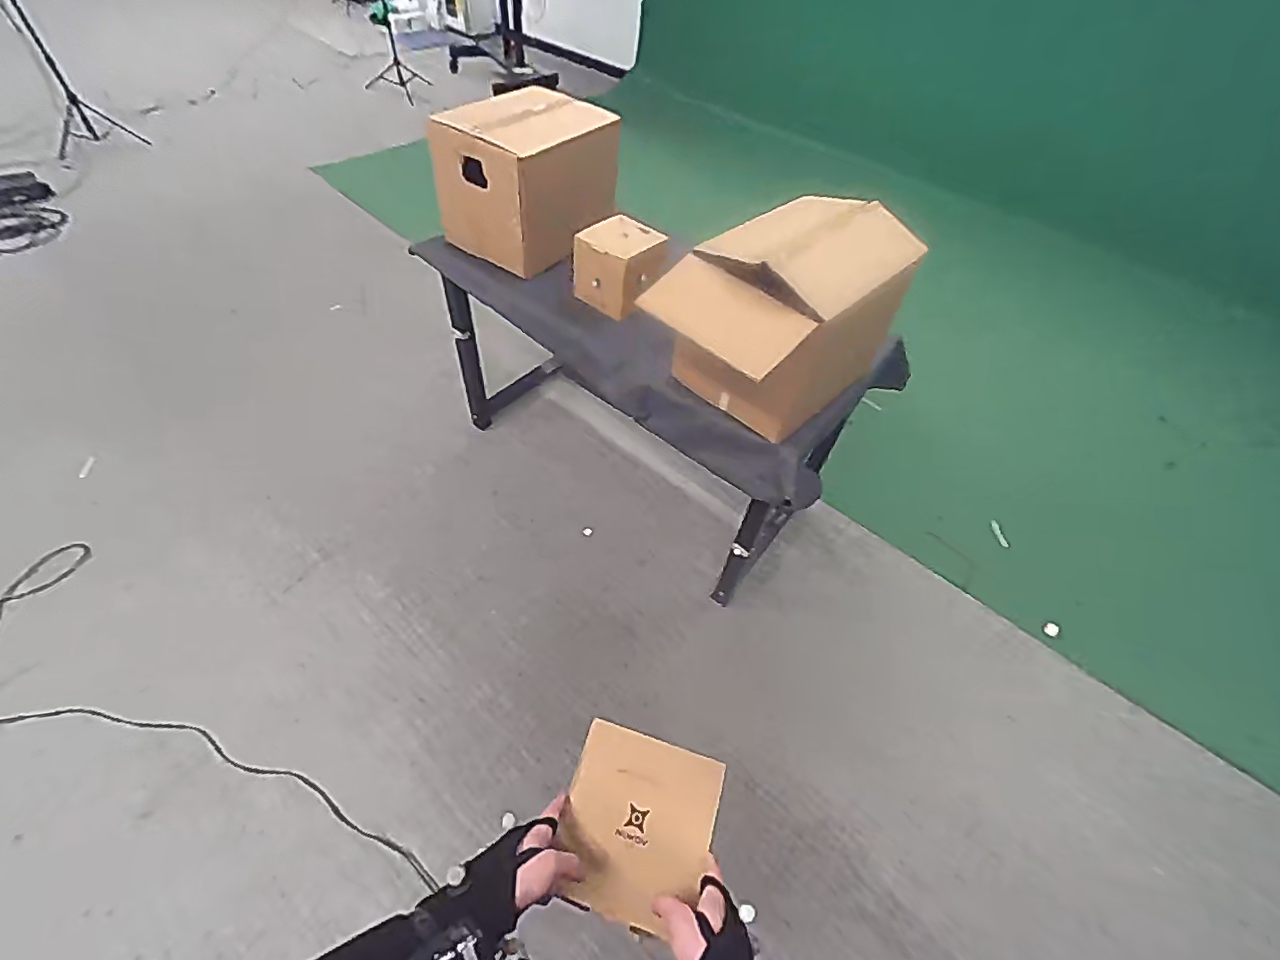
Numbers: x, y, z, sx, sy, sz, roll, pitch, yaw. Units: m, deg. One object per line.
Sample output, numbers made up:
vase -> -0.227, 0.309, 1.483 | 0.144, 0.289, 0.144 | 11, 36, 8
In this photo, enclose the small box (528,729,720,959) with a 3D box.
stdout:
small box -> -0.014, 0.425, 0.642 | 0.168, 0.176, 0.179 | 15, 56, 7
